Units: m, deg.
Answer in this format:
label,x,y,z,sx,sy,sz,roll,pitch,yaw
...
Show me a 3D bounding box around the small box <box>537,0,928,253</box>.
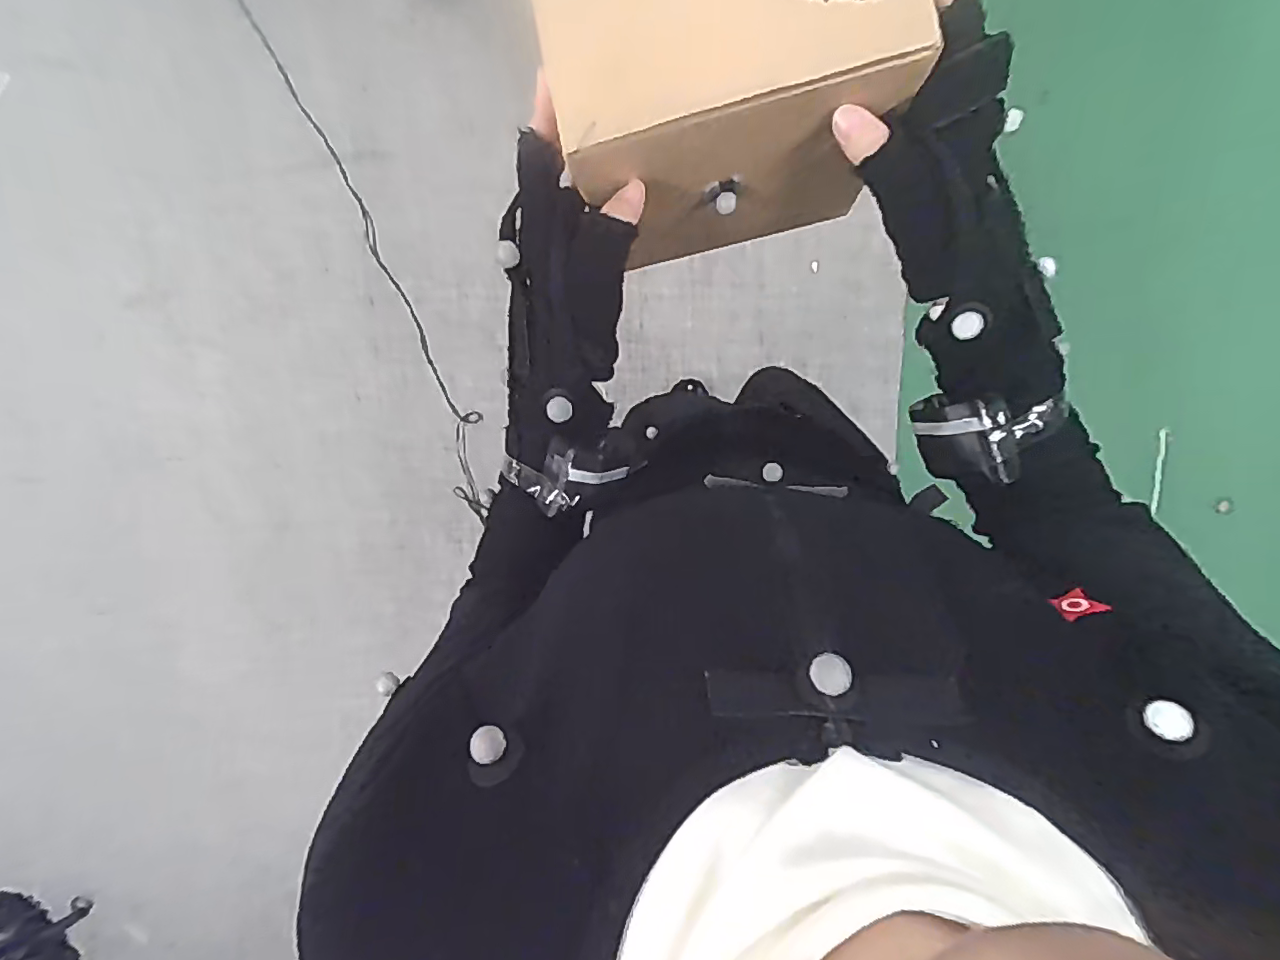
label,x,y,z,sx,sy,sz,roll,pitch,yaw
small box,0.041,-0.266,0.331,0.179,0.176,0.168,-12,91,8
